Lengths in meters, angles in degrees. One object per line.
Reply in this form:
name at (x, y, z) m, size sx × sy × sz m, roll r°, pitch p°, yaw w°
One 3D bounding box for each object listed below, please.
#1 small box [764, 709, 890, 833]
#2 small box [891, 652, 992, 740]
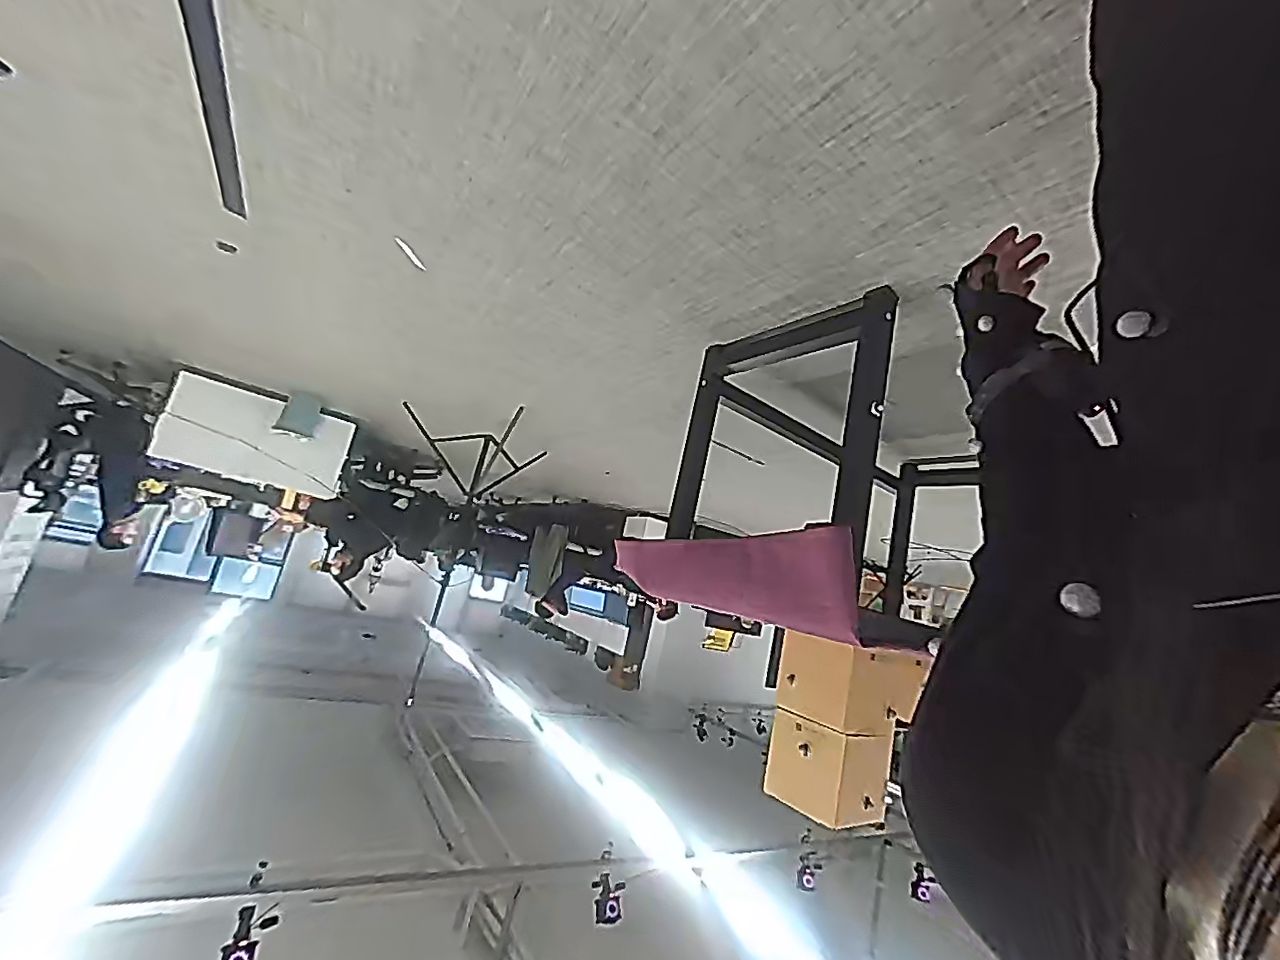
small box at (0.381, 0.573, 1.091) m, size 0.179 × 0.176 × 0.168 m, roll 20°, pitch 167°, yaw -35°
small box at (0.763, 0.538, 1.364) m, size 0.179 × 0.176 × 0.168 m, roll 20°, pitch 166°, yaw -33°
